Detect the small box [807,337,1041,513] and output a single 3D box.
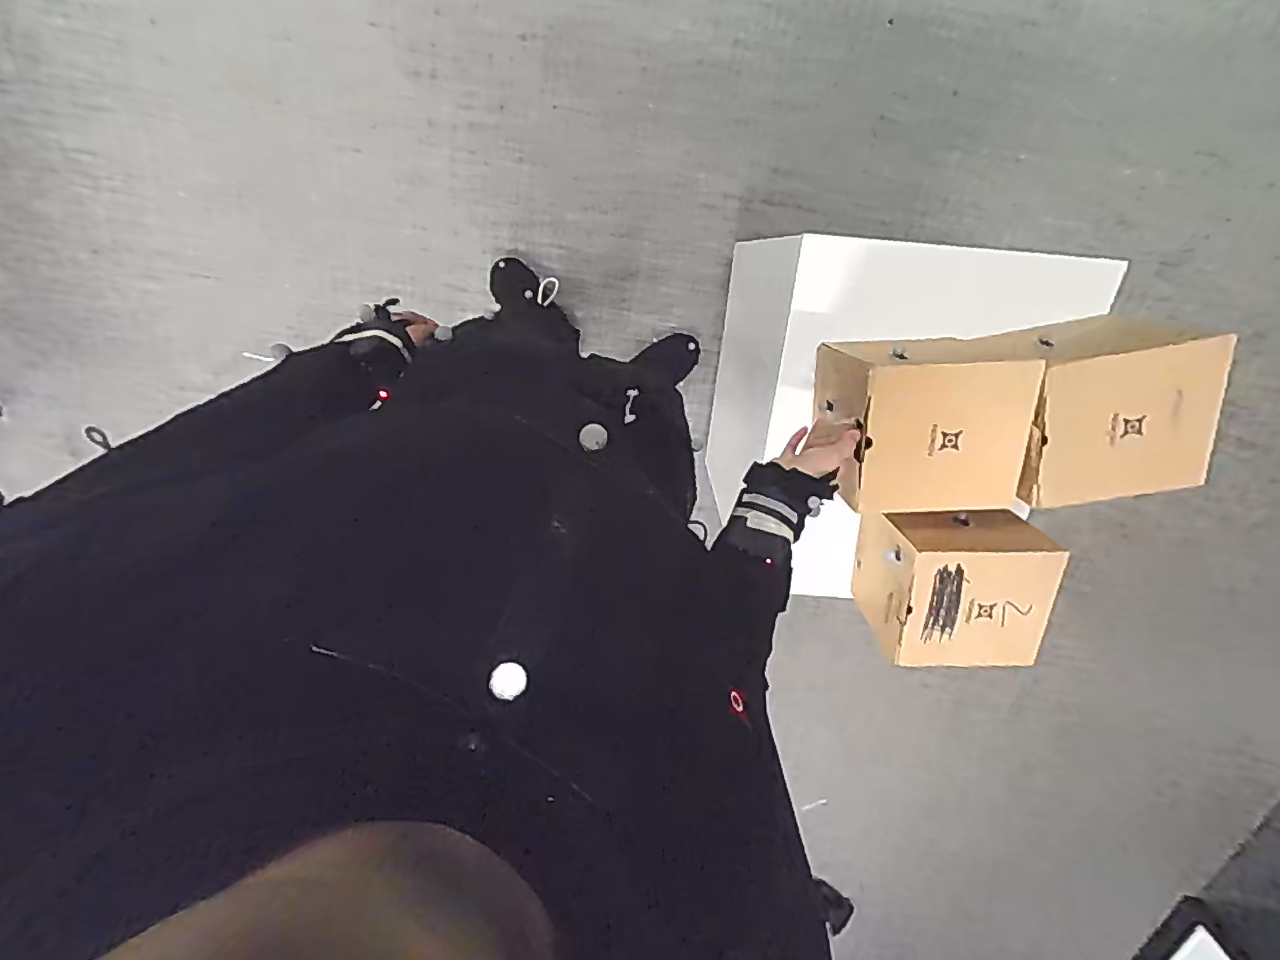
[{"bbox_3d":[0.316,-0.073,0.643,0.179,0.176,0.168,-3,112,0],"label":"small box"}]
